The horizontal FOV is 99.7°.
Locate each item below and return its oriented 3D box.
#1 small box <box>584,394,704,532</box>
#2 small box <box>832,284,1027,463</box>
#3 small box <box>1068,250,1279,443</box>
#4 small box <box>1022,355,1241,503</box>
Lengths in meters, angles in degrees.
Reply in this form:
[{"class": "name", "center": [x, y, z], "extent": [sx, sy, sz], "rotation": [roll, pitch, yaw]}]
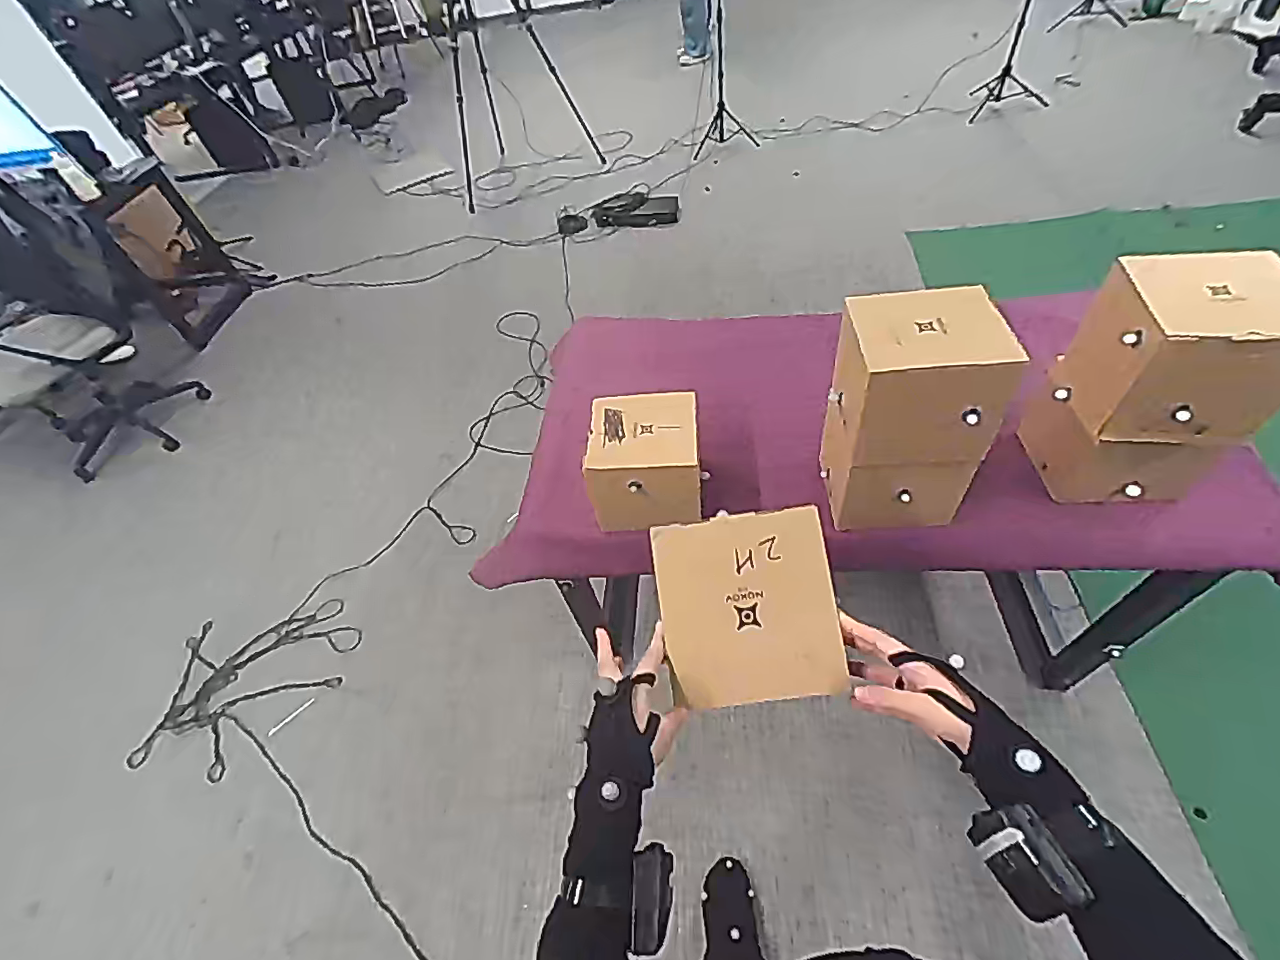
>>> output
[{"class": "small box", "center": [0.015, -0.024, 0.918], "extent": [0.179, 0.176, 0.168], "rotation": [-3, 49, 8]}, {"class": "small box", "center": [0.368, -0.137, 0.727], "extent": [0.179, 0.176, 0.168], "rotation": [-3, 48, 10]}, {"class": "small box", "center": [0.692, -0.170, 0.691], "extent": [0.168, 0.176, 0.179], "rotation": [3, 51, 15]}, {"class": "small box", "center": [0.733, -0.080, 0.824], "extent": [0.179, 0.176, 0.168], "rotation": [-3, 48, 10]}]
